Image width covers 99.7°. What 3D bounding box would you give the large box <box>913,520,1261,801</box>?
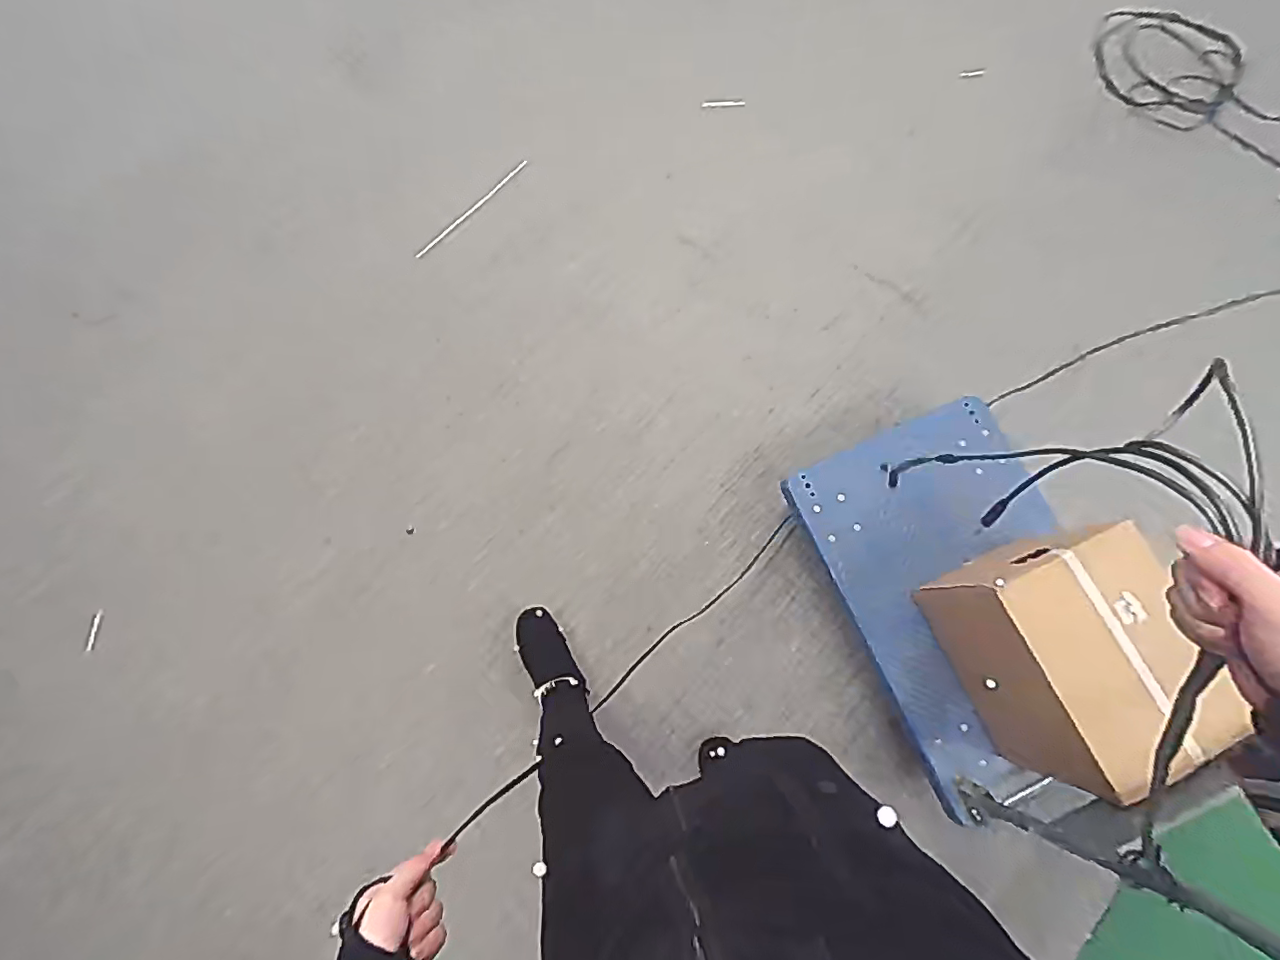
[{"bbox_3d":[0.858,0.344,1.108,0.320,0.320,0.408,-24,77,-7],"label":"large box"}]
